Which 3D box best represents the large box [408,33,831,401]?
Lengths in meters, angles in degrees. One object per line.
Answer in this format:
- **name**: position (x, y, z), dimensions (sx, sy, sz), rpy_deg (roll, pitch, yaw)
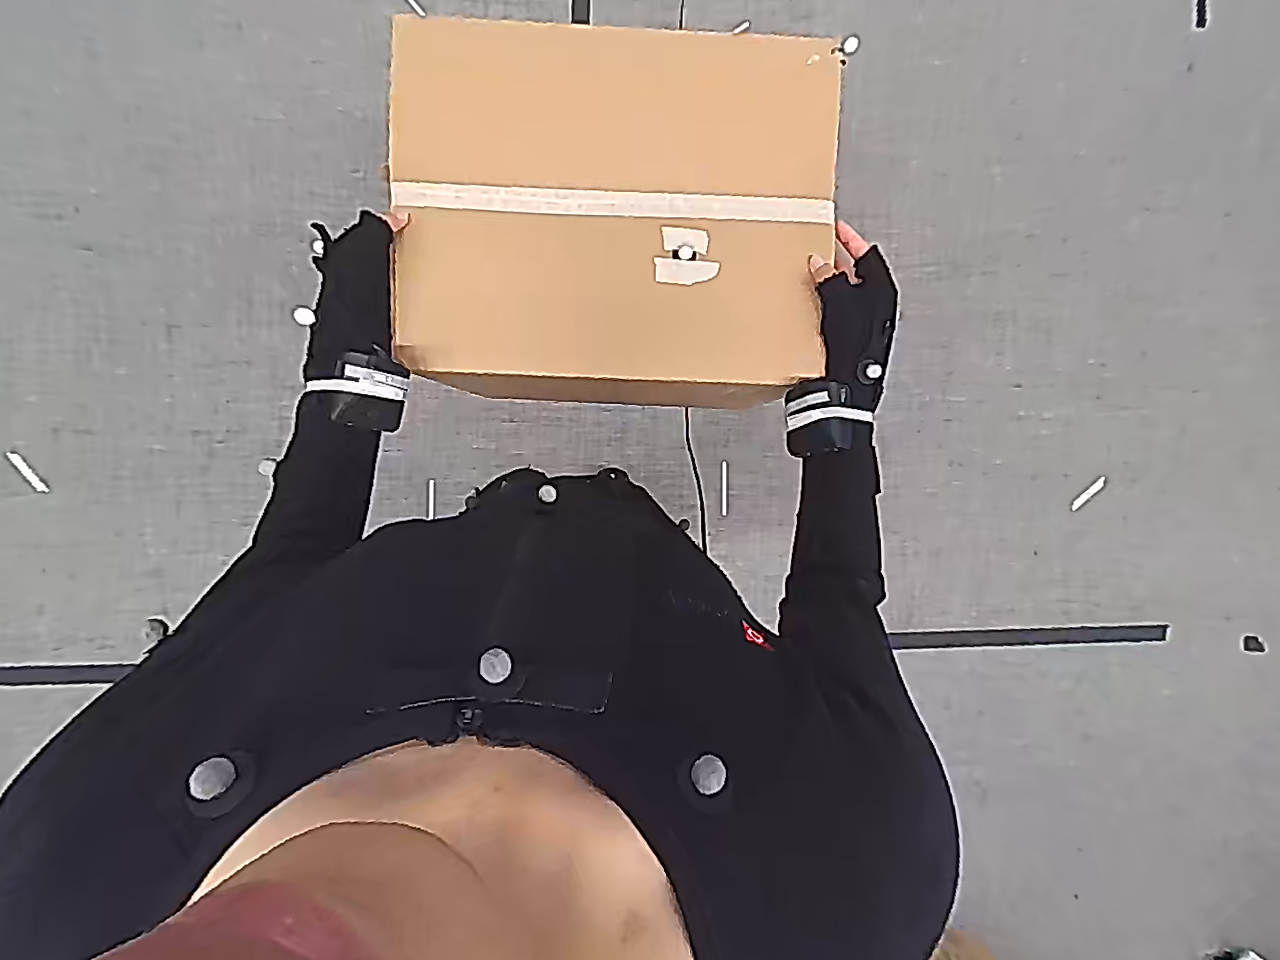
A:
- **large box**: position (-0.026, -0.266, 0.662), dimensions (0.408, 0.320, 0.320), rpy_deg (2, 94, -2)
